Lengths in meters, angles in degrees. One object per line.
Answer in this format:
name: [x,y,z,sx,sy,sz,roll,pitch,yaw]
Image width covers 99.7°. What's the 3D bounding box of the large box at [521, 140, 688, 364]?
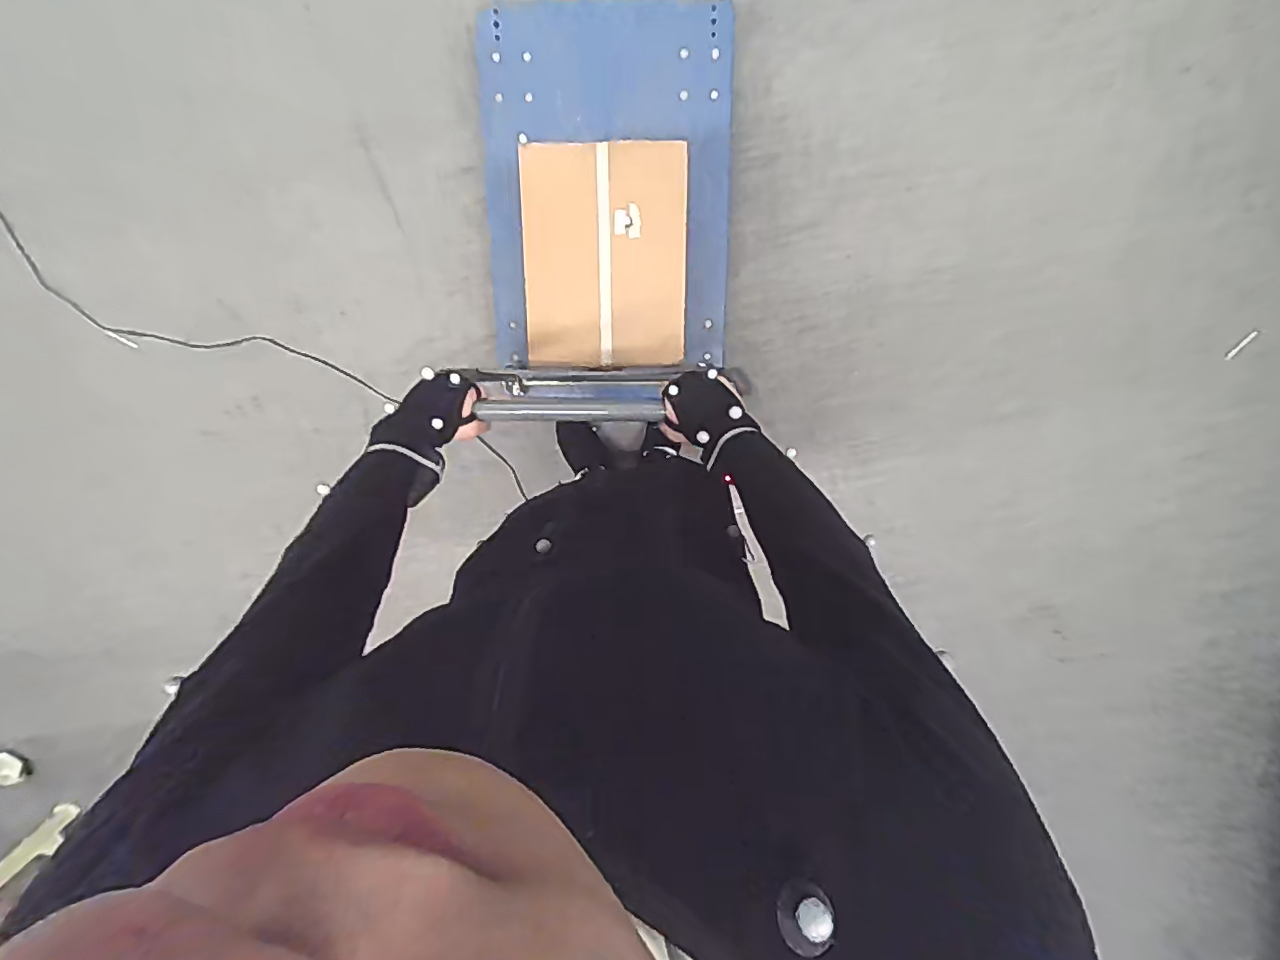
large box: [-0.060,-0.463,1.182,0.320,0.320,0.408,1,104,1]
